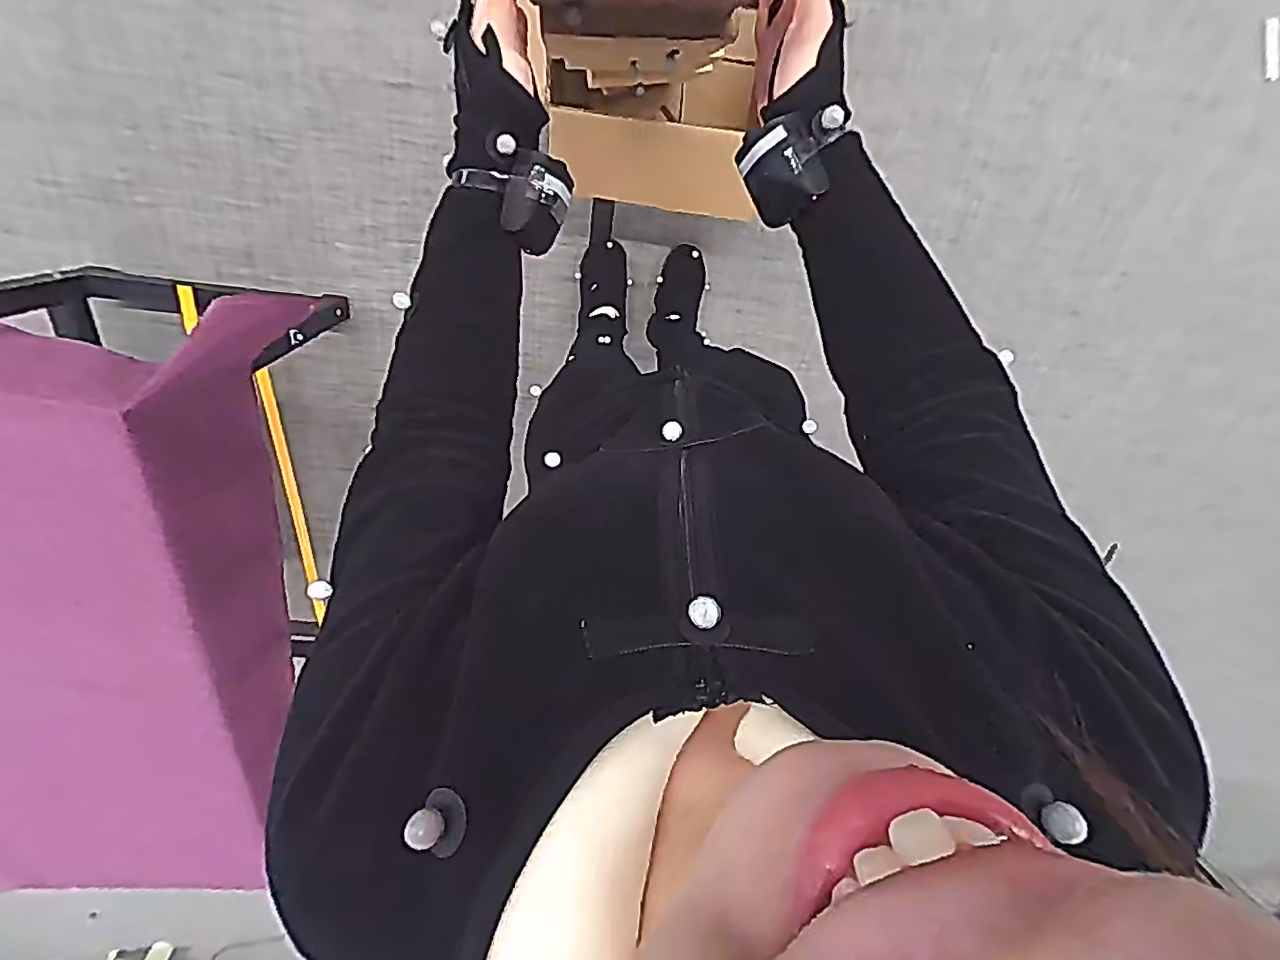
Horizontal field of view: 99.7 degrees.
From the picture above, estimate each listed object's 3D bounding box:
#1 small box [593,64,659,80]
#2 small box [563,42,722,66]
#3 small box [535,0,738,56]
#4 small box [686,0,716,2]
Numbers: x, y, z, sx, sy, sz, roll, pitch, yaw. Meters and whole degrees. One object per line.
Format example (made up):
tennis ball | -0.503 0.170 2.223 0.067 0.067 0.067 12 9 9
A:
small box | -0.006 -0.764 0.865 0.179 0.176 0.168 -15 123 2
small box | -0.004 -0.569 0.598 0.179 0.176 0.168 -3 124 -5
small box | -0.006 -0.480 0.461 0.168 0.176 0.179 -2 123 -6
small box | 0.004 -0.406 0.314 0.168 0.176 0.179 -4 123 -6
